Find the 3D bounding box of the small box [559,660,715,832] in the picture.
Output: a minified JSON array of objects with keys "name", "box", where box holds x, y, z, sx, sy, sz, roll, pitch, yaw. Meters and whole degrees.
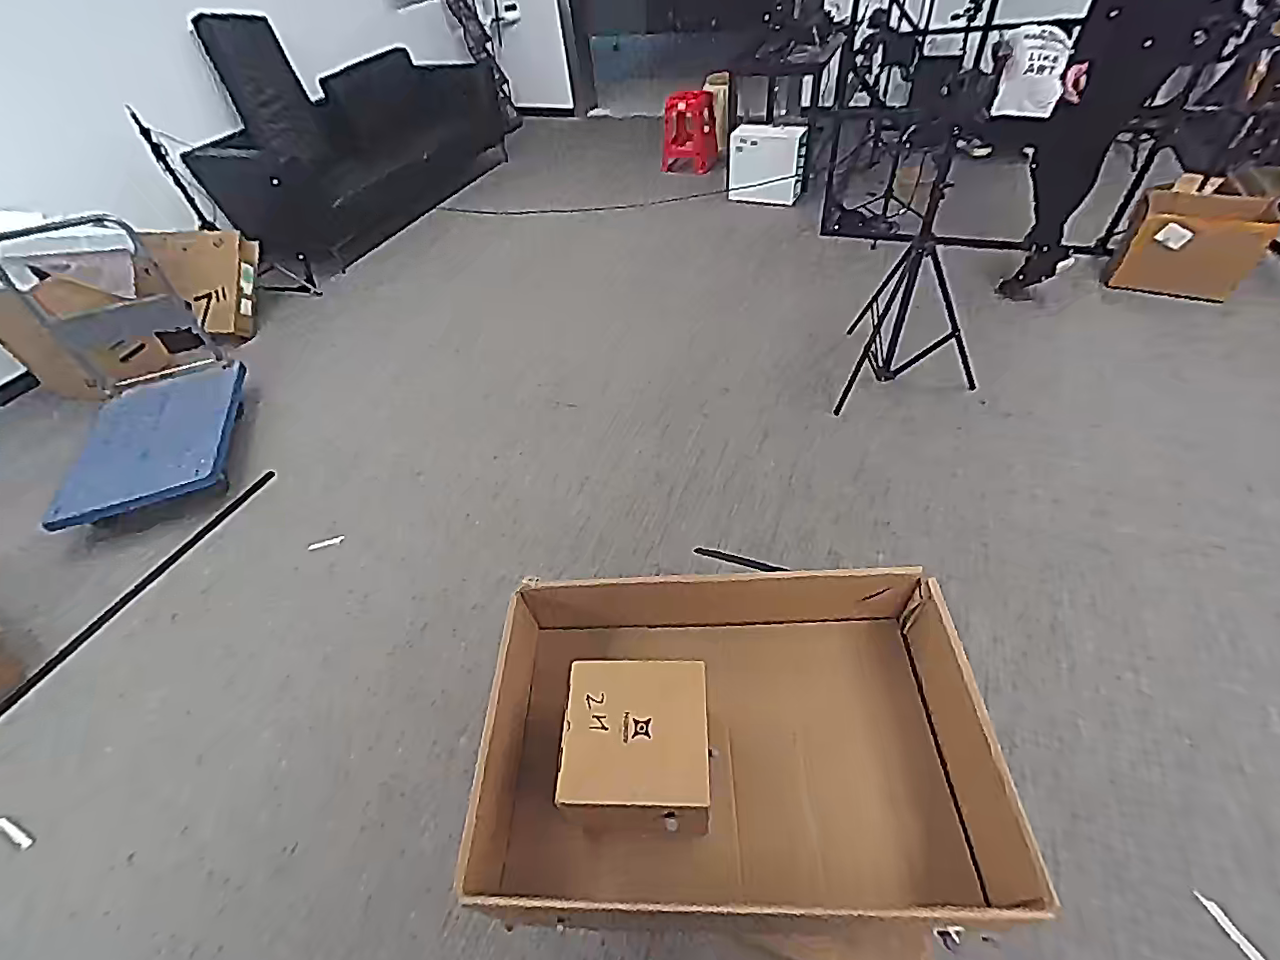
[{"name":"small box","box":[0.006,0.349,0.708,0.179,0.176,0.168,-2,48,6]}]
